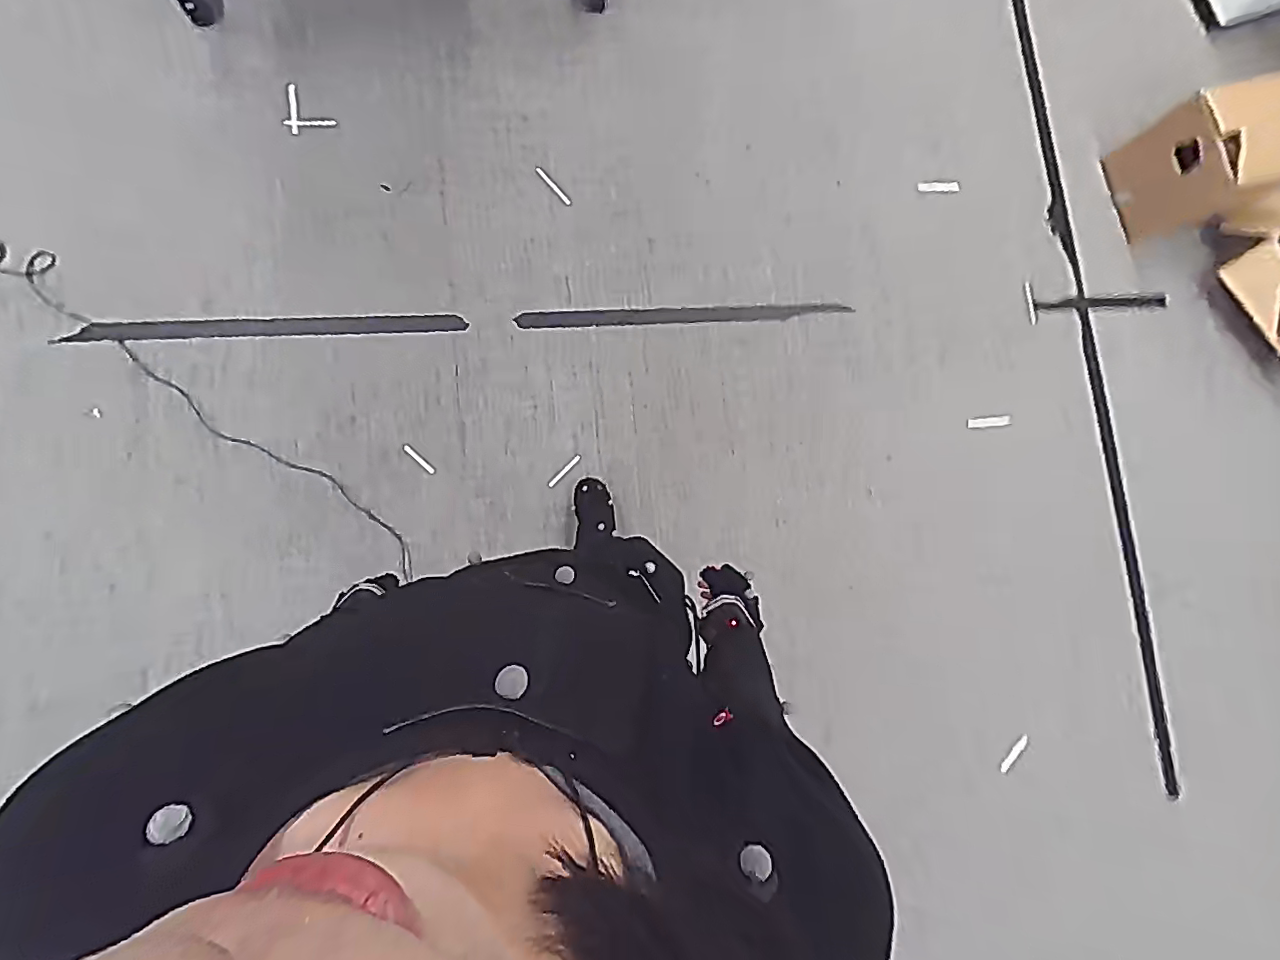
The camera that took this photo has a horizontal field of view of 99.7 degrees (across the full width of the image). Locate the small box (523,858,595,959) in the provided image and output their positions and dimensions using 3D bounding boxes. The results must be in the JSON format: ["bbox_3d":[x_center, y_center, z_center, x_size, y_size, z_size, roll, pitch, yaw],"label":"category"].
[{"bbox_3d":[-0.197,1.083,1.338,0.168,0.176,0.179,-3,83,-9],"label":"small box"}]
